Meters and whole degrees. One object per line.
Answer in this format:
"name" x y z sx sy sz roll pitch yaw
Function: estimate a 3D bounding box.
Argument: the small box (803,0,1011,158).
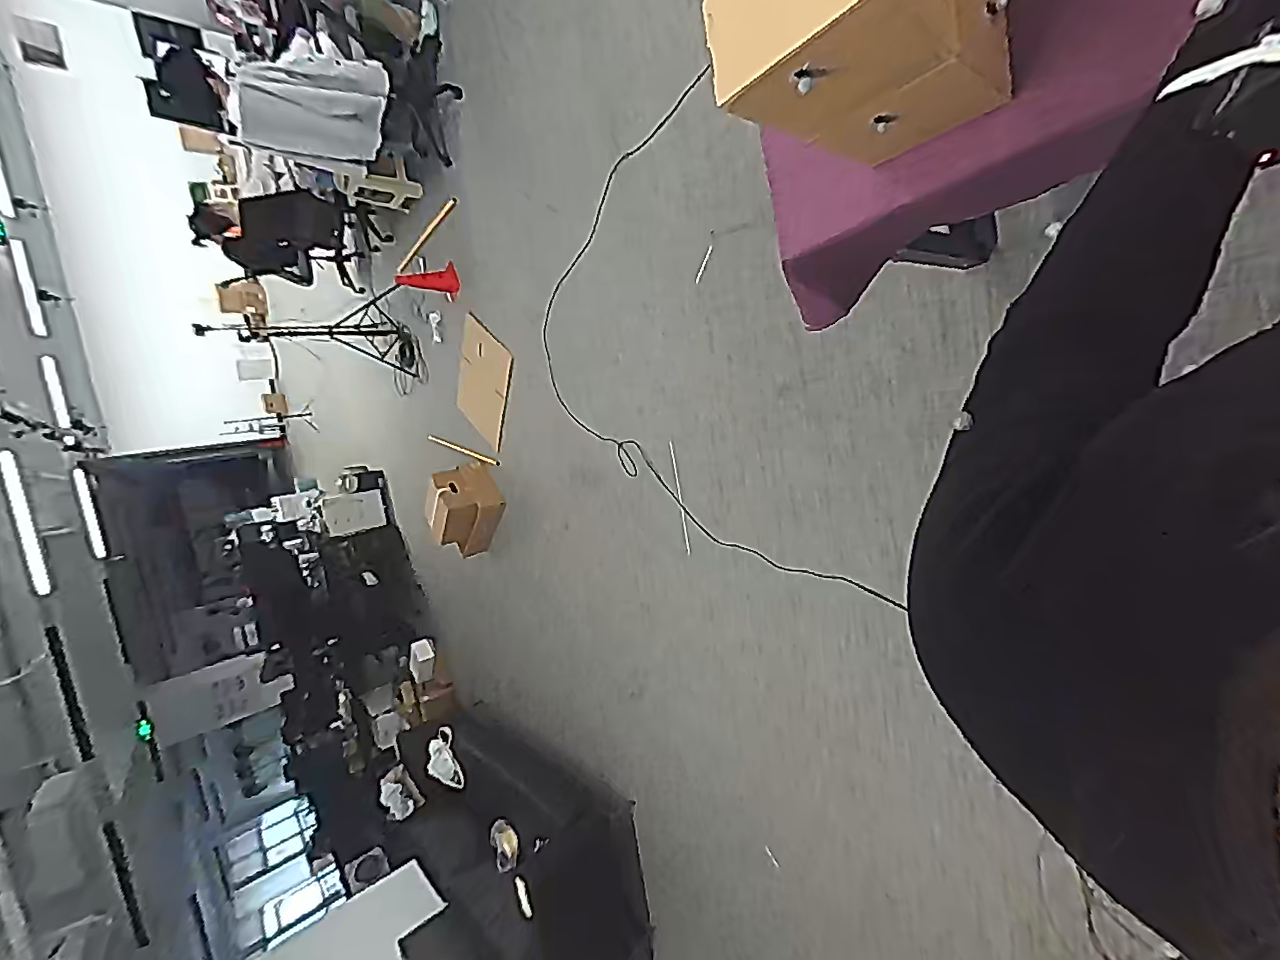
"small box" 0.306 -0.512 0.639 0.179 0.176 0.168 -1 100 51

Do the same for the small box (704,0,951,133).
"small box" 0.185 -0.481 0.534 0.179 0.176 0.168 -2 100 52
